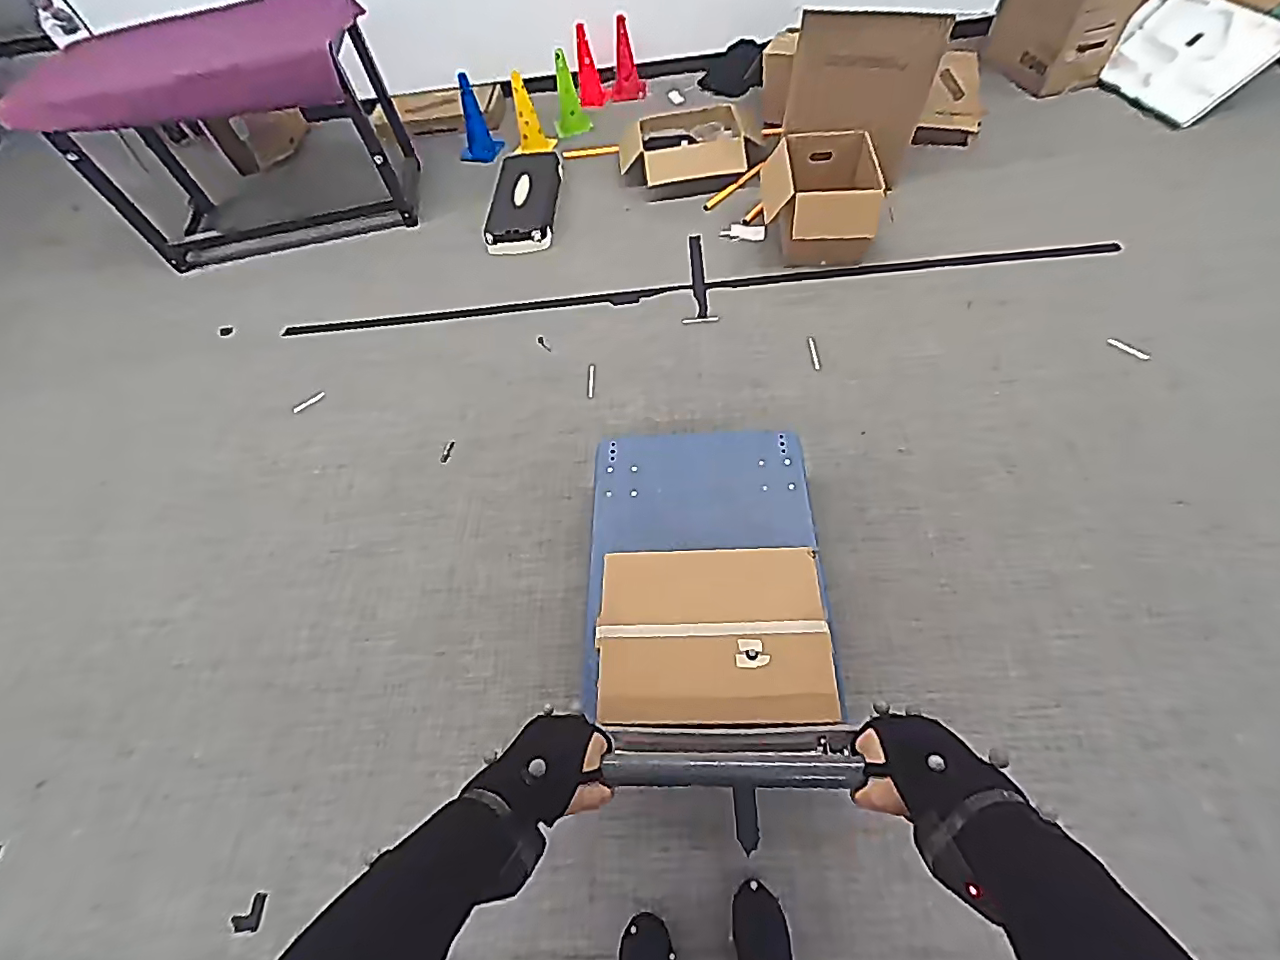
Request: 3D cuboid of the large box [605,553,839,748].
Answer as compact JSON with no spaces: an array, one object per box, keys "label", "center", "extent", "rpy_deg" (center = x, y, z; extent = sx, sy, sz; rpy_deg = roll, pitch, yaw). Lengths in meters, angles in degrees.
[{"label":"large box","center":[0.145,0.361,1.113],"extent":[0.408,0.320,0.320],"rpy_deg":[-2,59,4]}]
